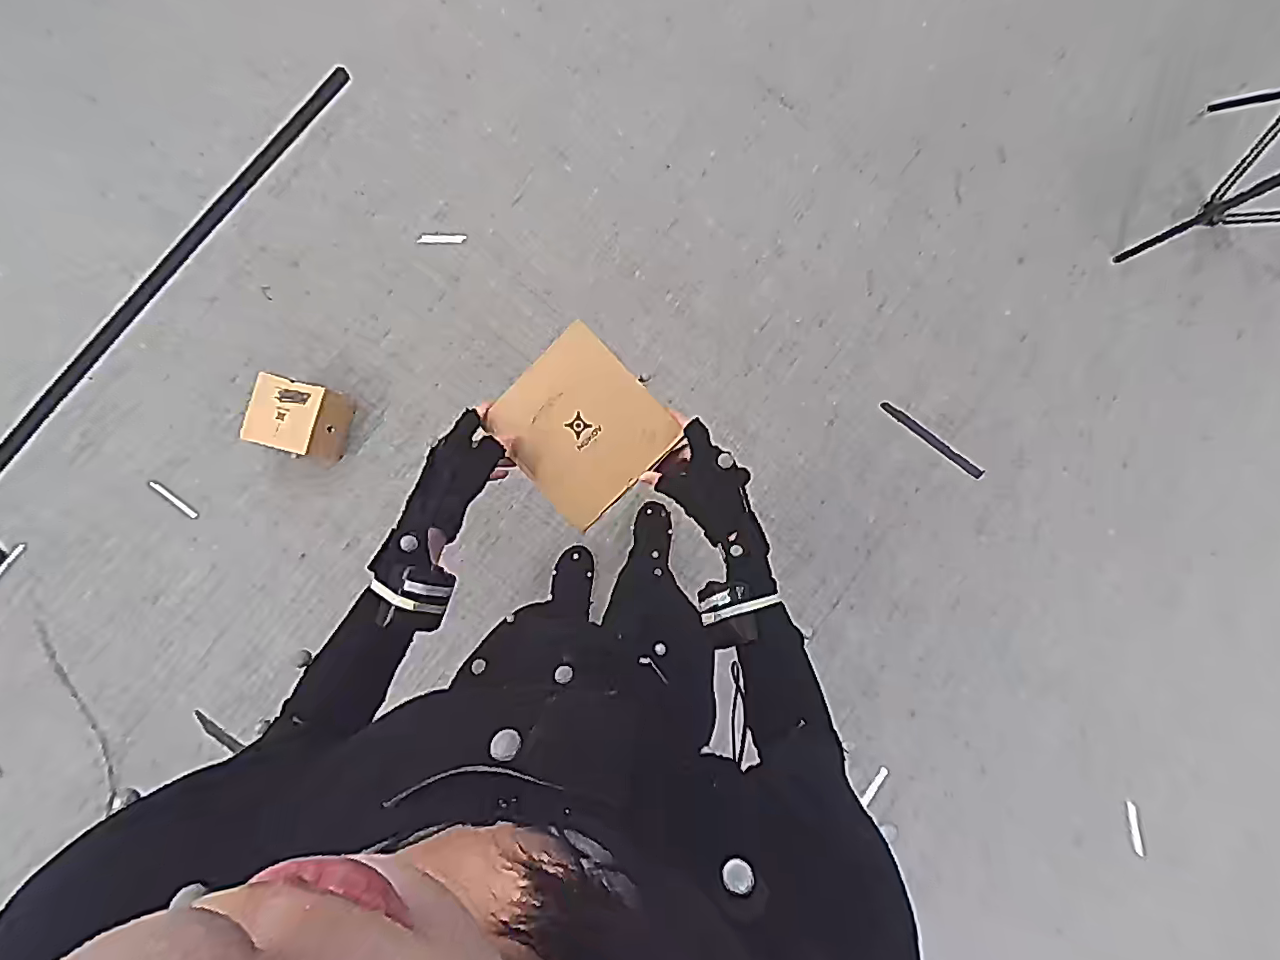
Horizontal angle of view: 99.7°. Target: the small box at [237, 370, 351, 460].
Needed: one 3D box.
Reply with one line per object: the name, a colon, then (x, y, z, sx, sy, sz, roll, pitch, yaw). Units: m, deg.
small box: (-0.879, -0.160, 1.394, 0.168, 0.176, 0.179, 15, 87, -2)
